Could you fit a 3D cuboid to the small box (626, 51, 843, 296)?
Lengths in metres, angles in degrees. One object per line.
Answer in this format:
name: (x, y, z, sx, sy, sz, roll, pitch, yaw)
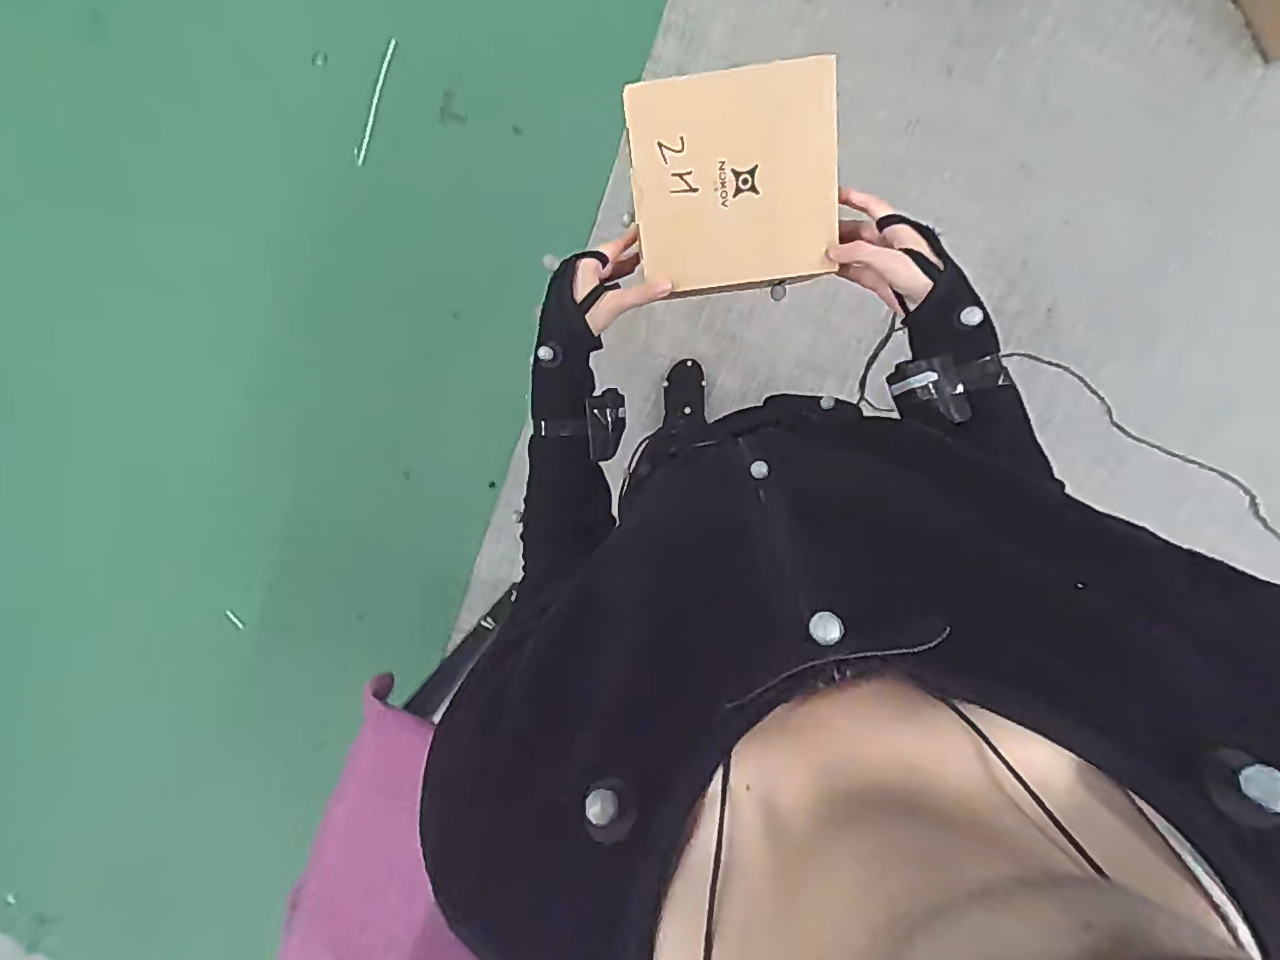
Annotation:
small box: (0.082, -0.277, 0.528, 0.179, 0.176, 0.168, -6, 106, 3)
